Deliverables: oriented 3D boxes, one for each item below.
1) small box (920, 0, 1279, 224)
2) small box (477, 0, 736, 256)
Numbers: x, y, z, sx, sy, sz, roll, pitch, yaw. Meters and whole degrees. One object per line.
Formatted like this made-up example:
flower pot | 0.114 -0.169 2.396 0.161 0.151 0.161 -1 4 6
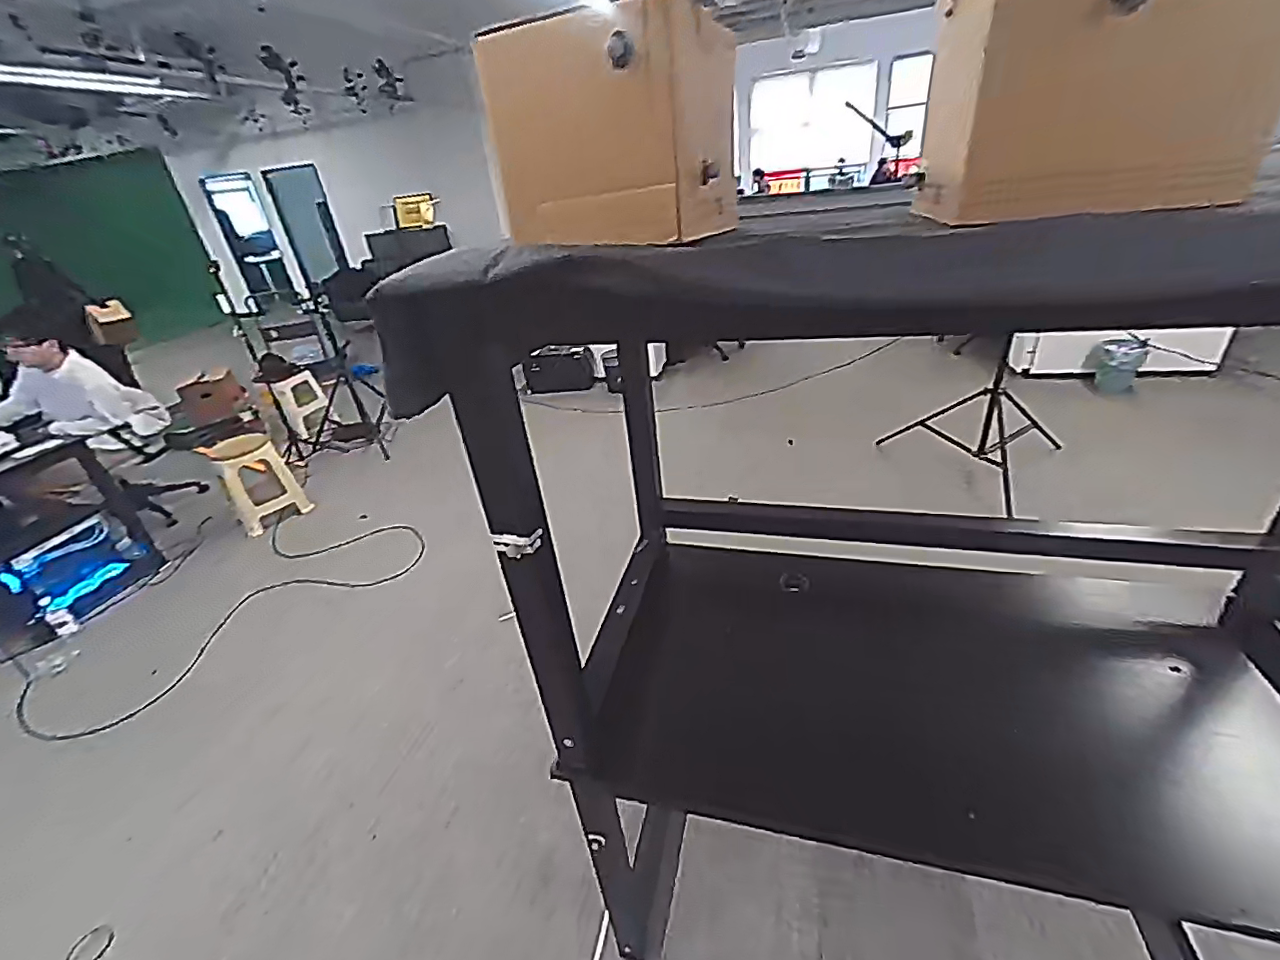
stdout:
small box | 0.324 -0.293 0.405 0.179 0.176 0.168 2 30 14
small box | -0.017 -0.308 0.504 0.179 0.176 0.168 8 30 24
